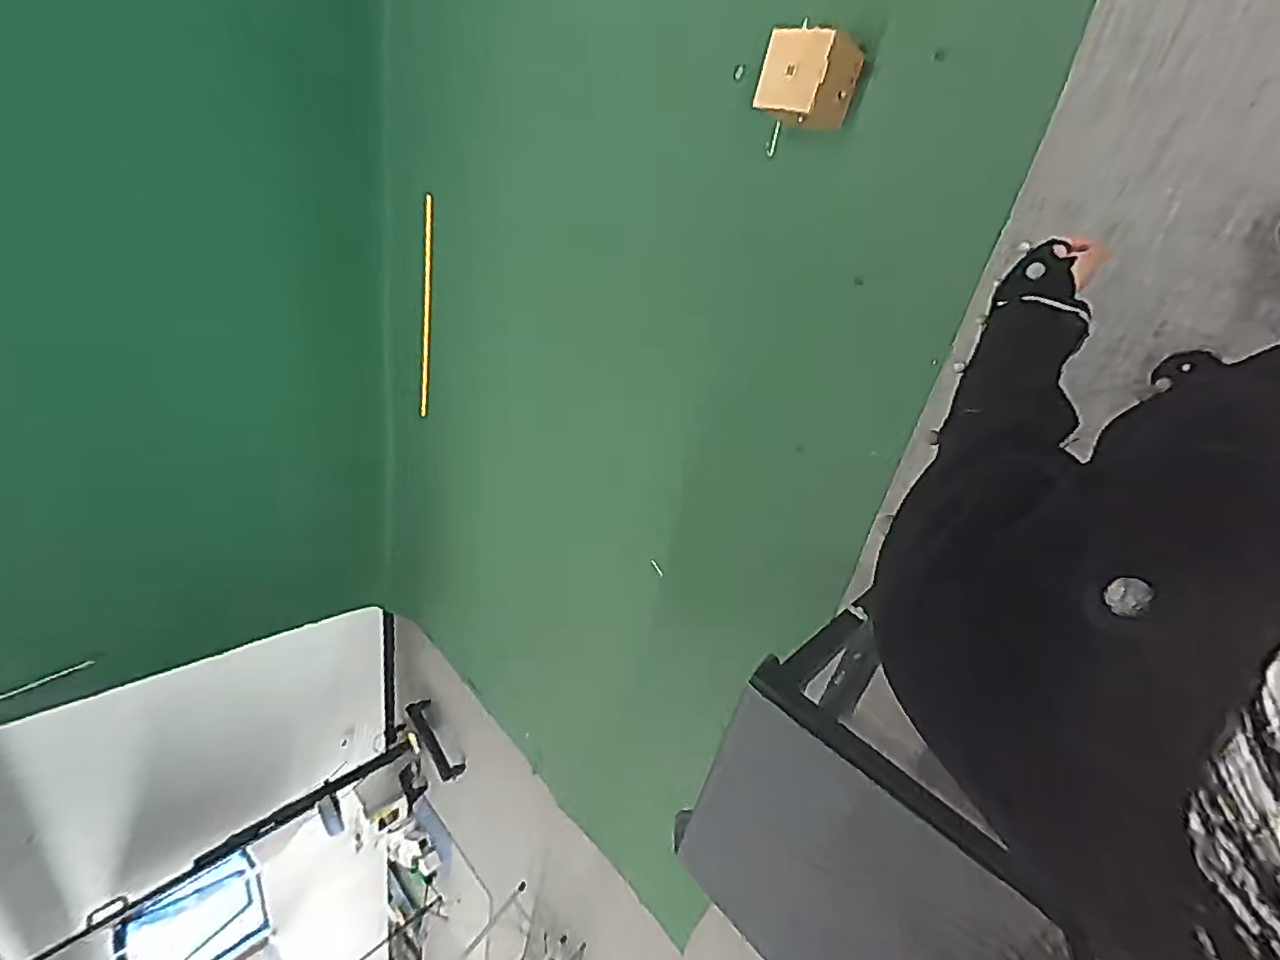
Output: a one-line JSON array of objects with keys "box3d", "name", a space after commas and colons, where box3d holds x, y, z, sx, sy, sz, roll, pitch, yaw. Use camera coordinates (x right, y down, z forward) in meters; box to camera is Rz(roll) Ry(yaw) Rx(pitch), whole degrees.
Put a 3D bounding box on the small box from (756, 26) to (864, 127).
[{"box3d": [0.429, -1.013, 1.367, 0.179, 0.176, 0.168, 33, 122, 34], "name": "small box"}]
